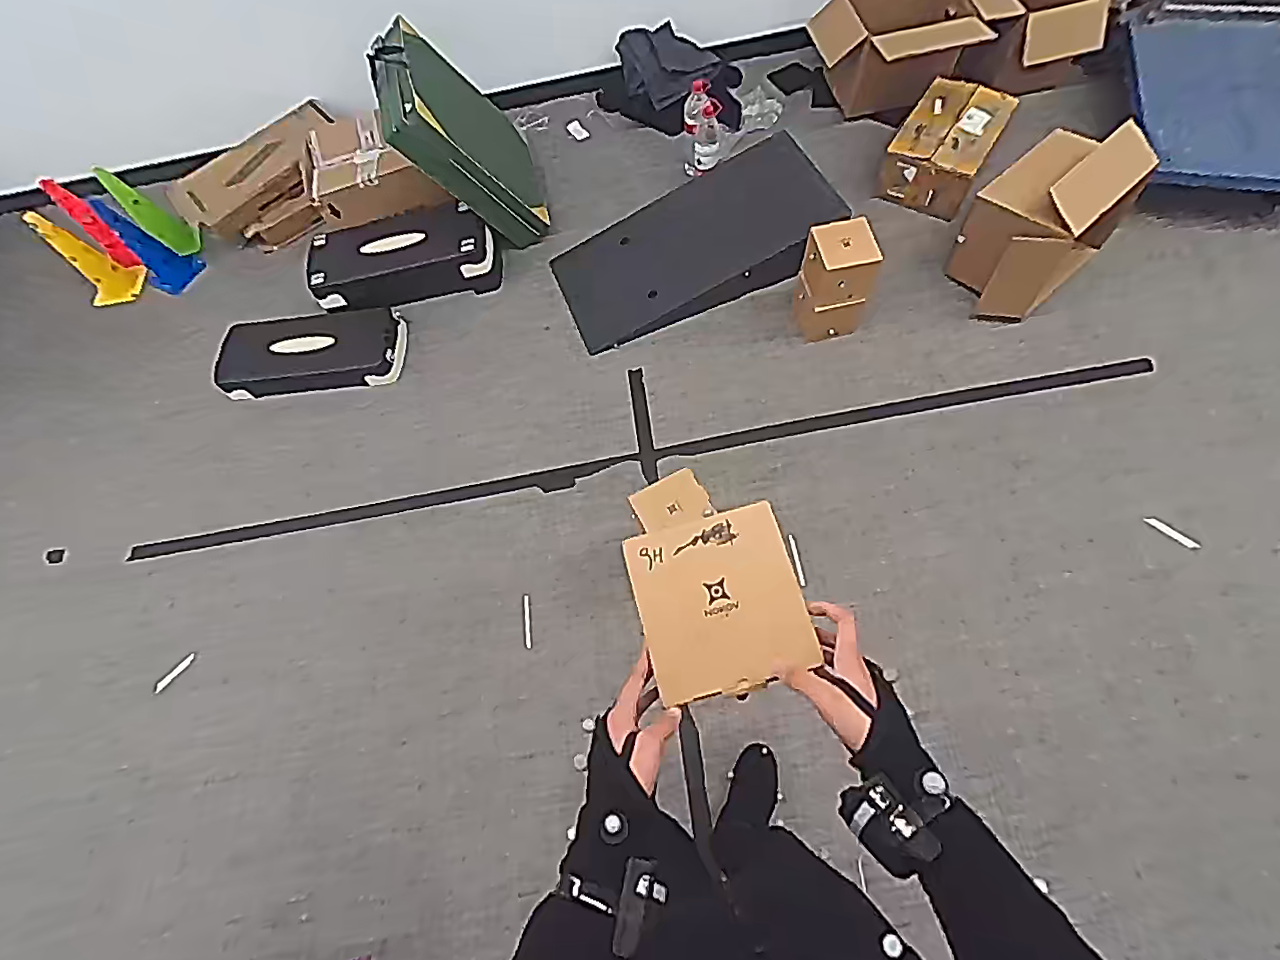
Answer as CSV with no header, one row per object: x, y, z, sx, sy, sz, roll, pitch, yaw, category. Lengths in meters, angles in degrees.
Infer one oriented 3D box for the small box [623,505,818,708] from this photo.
0.089,0.148,0.633,0.168,0.176,0.179,-16,71,2,small box
